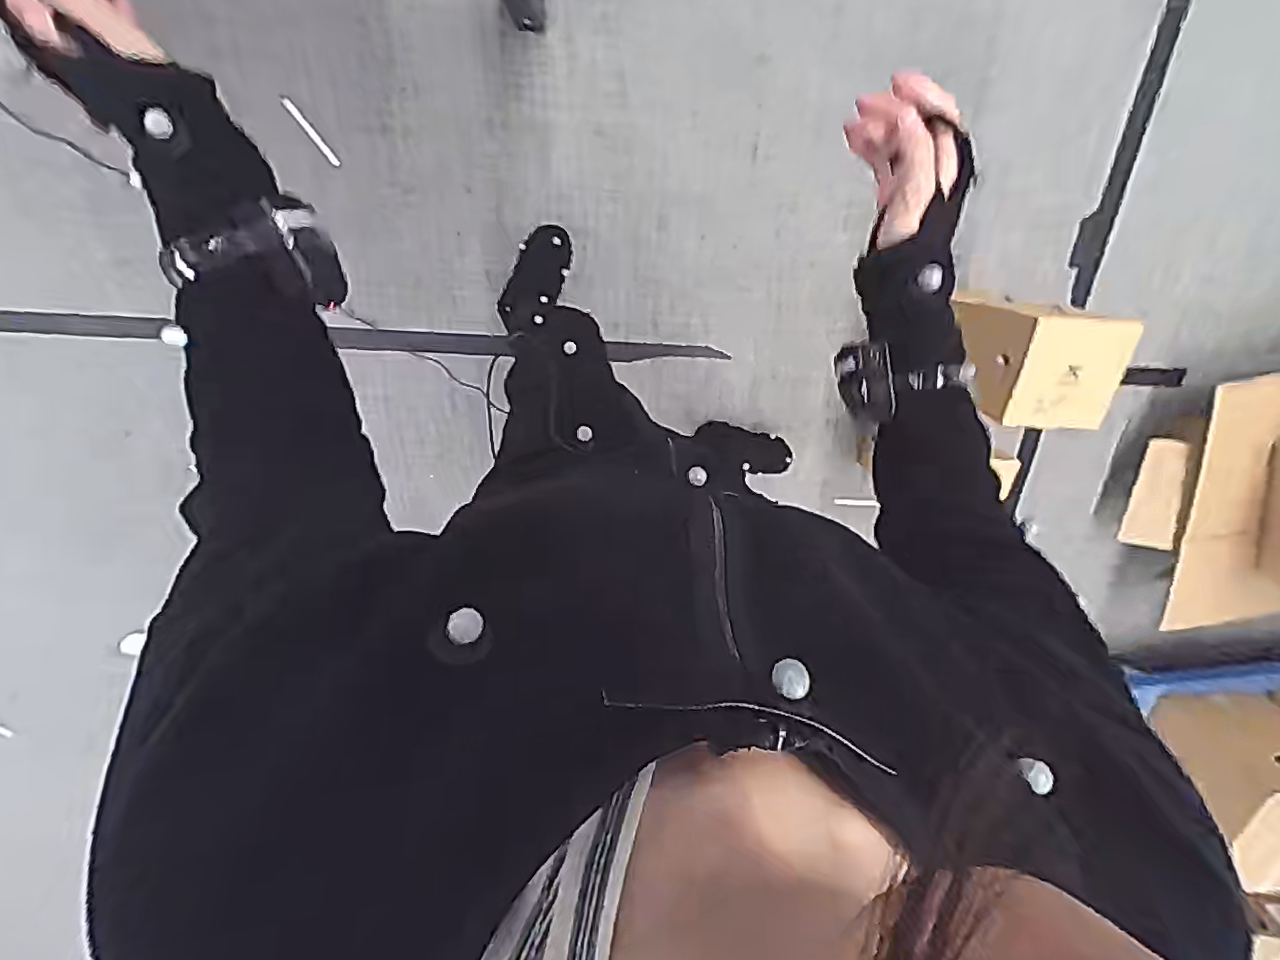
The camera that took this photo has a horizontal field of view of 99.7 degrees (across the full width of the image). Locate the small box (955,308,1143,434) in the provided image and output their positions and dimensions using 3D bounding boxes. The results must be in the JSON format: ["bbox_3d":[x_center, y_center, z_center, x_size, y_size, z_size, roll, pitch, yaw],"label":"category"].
[{"bbox_3d":[0.680,-0.193,0.927,0.168,0.176,0.179,2,117,-2],"label":"small box"}]

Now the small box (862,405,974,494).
[{"bbox_3d":[0.678,-0.070,1.345,0.168,0.176,0.179,6,116,-4],"label":"small box"}]

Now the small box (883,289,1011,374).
[{"bbox_3d":[0.680,-0.335,1.222,0.179,0.176,0.168,0,116,-3],"label":"small box"}]

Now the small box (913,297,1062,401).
[{"bbox_3d":[0.675,-0.263,1.076,0.168,0.176,0.179,2,116,-2],"label":"small box"}]
